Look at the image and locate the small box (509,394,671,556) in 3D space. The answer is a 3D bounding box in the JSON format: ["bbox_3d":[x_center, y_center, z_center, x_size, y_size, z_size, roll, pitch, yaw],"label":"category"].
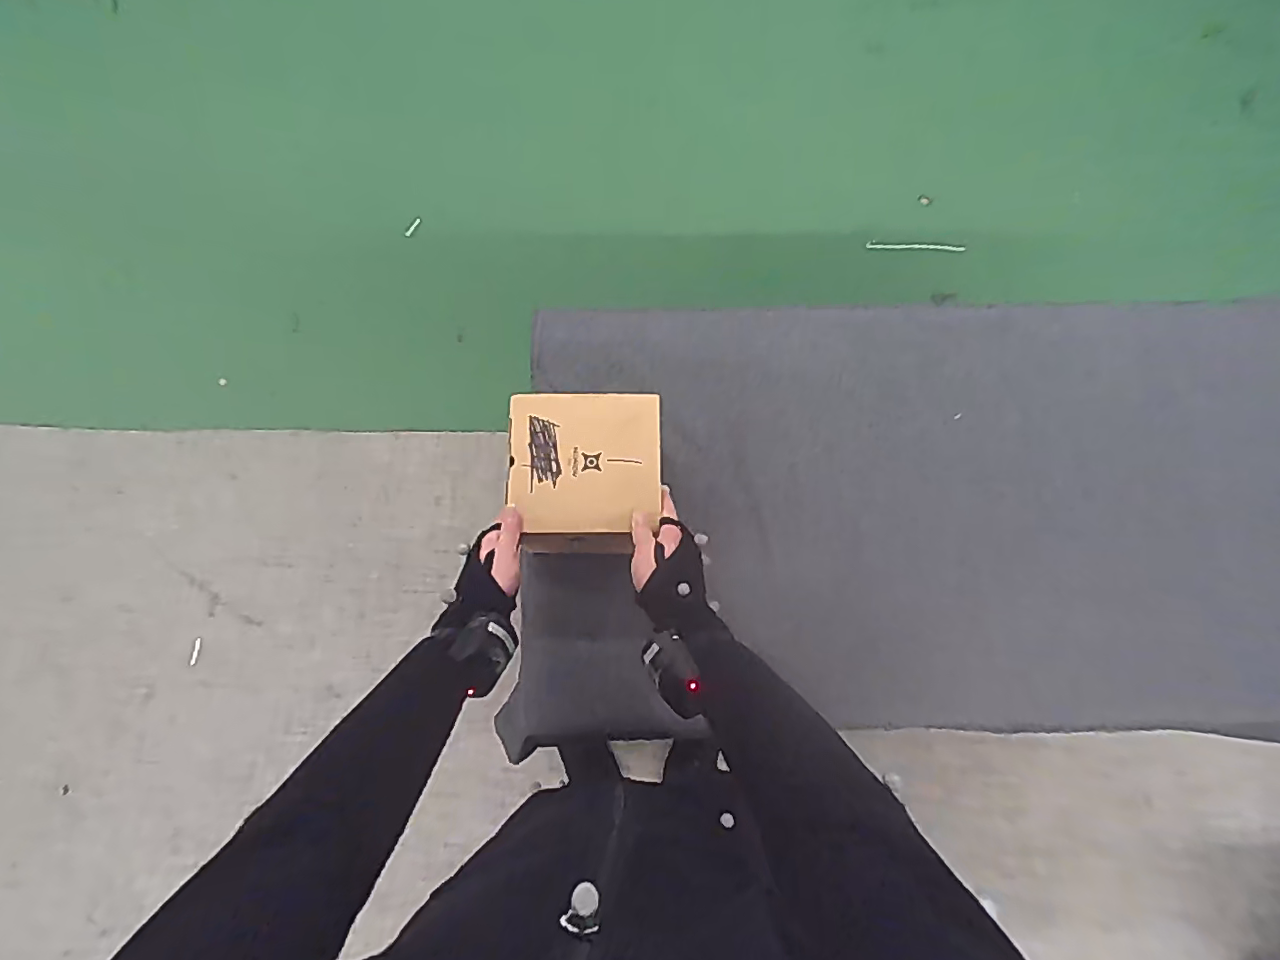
[{"bbox_3d":[-0.056,0.003,0.677,0.179,0.176,0.168,1,75,-3],"label":"small box"}]
